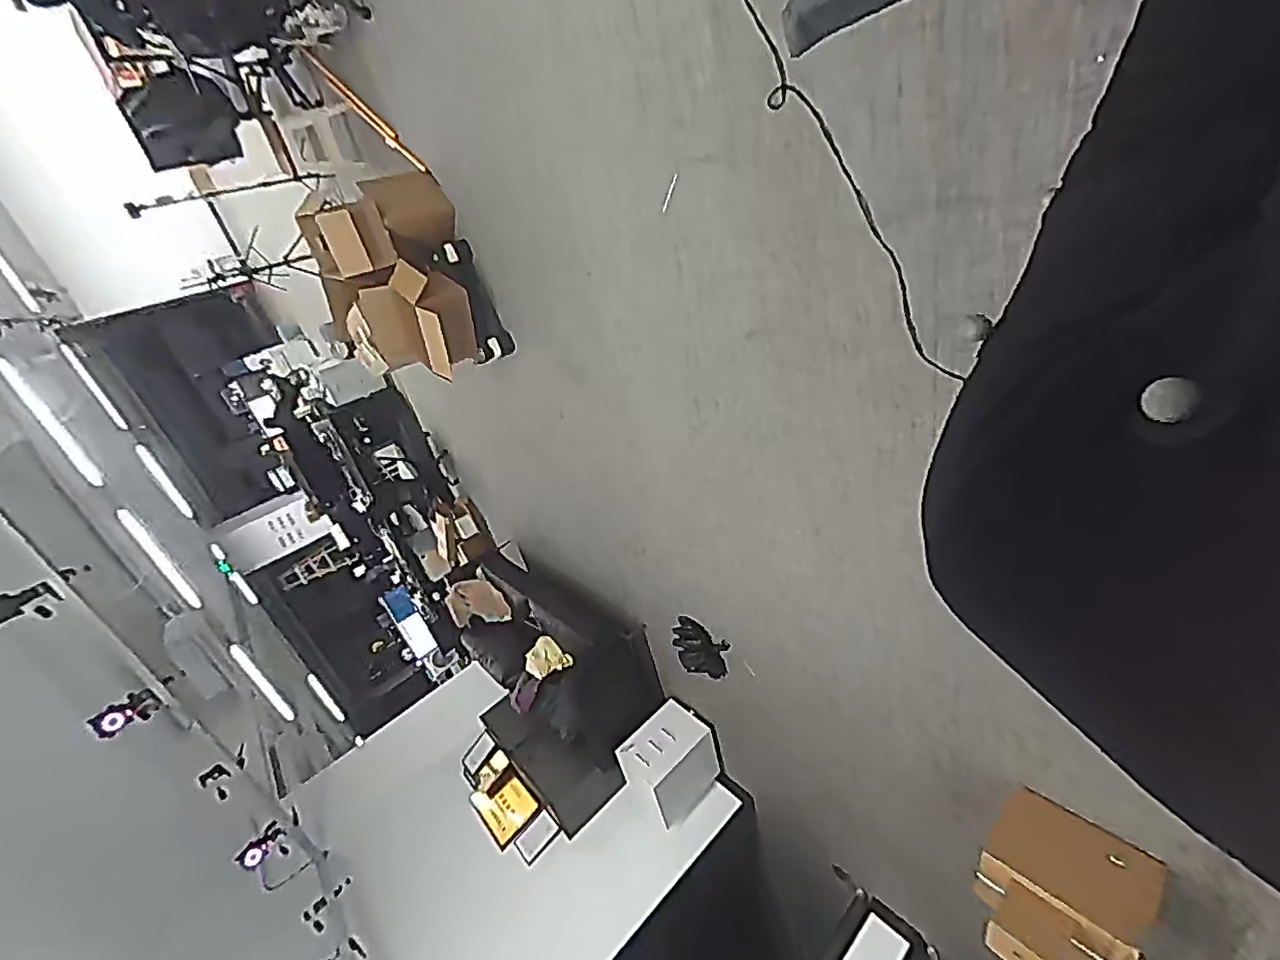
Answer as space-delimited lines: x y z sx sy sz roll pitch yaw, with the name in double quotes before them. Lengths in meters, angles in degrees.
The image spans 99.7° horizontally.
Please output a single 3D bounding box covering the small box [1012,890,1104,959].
"small box" 1.266 1.409 1.638 0.179 0.176 0.168 21 133 49
